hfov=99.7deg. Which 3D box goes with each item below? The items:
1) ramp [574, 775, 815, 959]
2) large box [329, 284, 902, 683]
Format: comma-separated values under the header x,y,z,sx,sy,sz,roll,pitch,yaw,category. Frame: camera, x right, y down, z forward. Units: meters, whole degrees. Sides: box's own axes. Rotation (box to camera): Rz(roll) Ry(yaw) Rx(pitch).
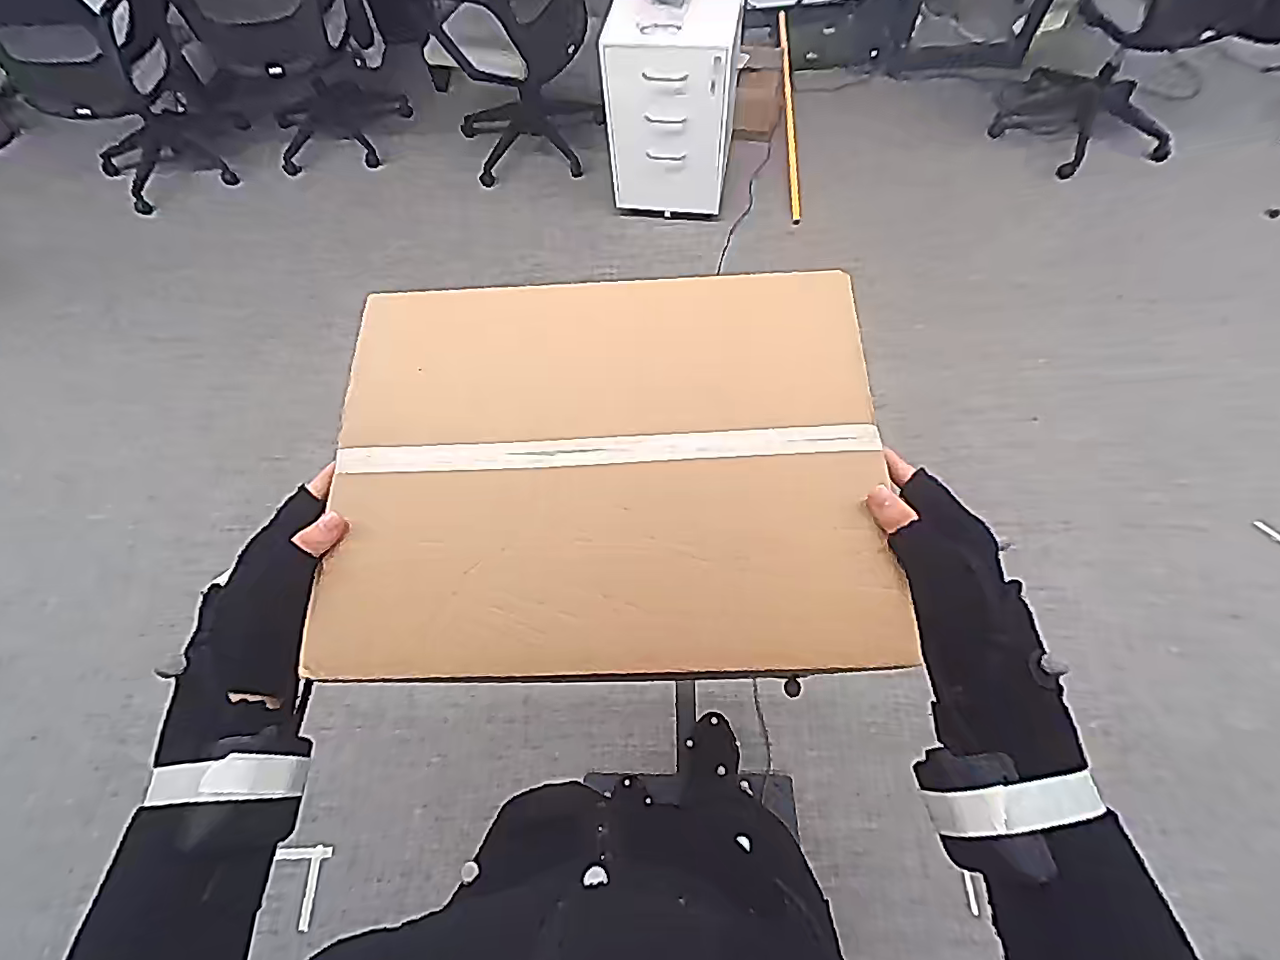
x,y,z,sx,sy,sz,roll,pitch,yaw,category
0.105,1.108,0.998,0.509,0.206,0.991,-3,63,4,ramp
-0.016,0.036,0.558,0.408,0.320,0.320,-2,69,3,large box
